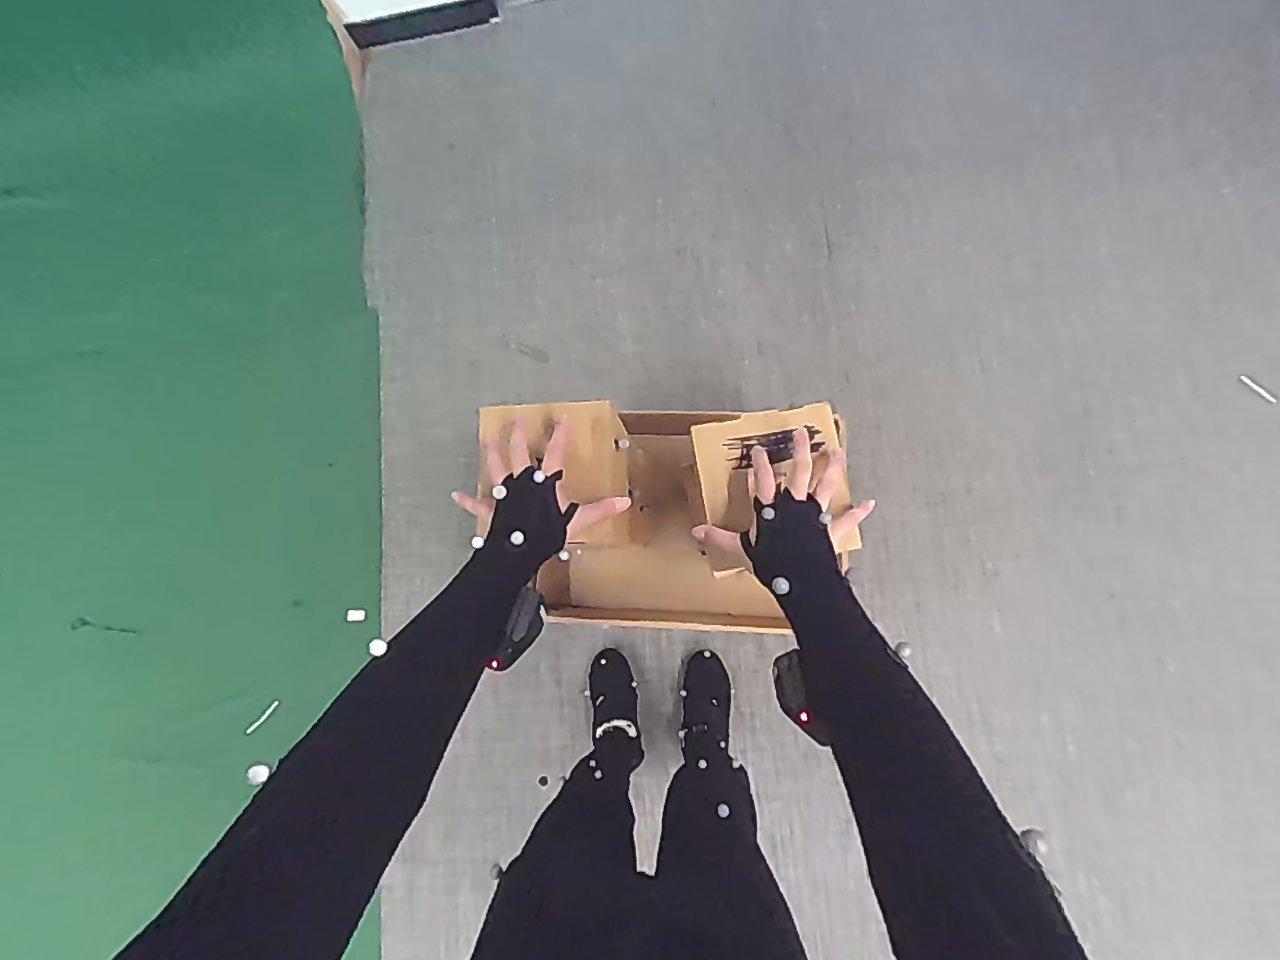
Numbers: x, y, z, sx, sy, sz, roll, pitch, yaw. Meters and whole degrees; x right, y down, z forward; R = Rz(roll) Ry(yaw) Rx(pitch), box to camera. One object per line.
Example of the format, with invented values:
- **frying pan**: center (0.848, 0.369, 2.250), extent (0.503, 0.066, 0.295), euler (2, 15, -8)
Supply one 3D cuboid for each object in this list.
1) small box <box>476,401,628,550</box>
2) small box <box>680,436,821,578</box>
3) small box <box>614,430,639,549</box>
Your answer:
- **small box**: center (-0.109, 0.003, 0.737), extent (0.168, 0.176, 0.179), euler (-2, 81, 7)
- **small box**: center (0.169, 0.050, 0.860), extent (0.168, 0.176, 0.179), euler (-17, 78, 4)
- **small box**: center (-0.093, 0.023, 0.899), extent (0.168, 0.176, 0.179), euler (-2, 81, 7)
